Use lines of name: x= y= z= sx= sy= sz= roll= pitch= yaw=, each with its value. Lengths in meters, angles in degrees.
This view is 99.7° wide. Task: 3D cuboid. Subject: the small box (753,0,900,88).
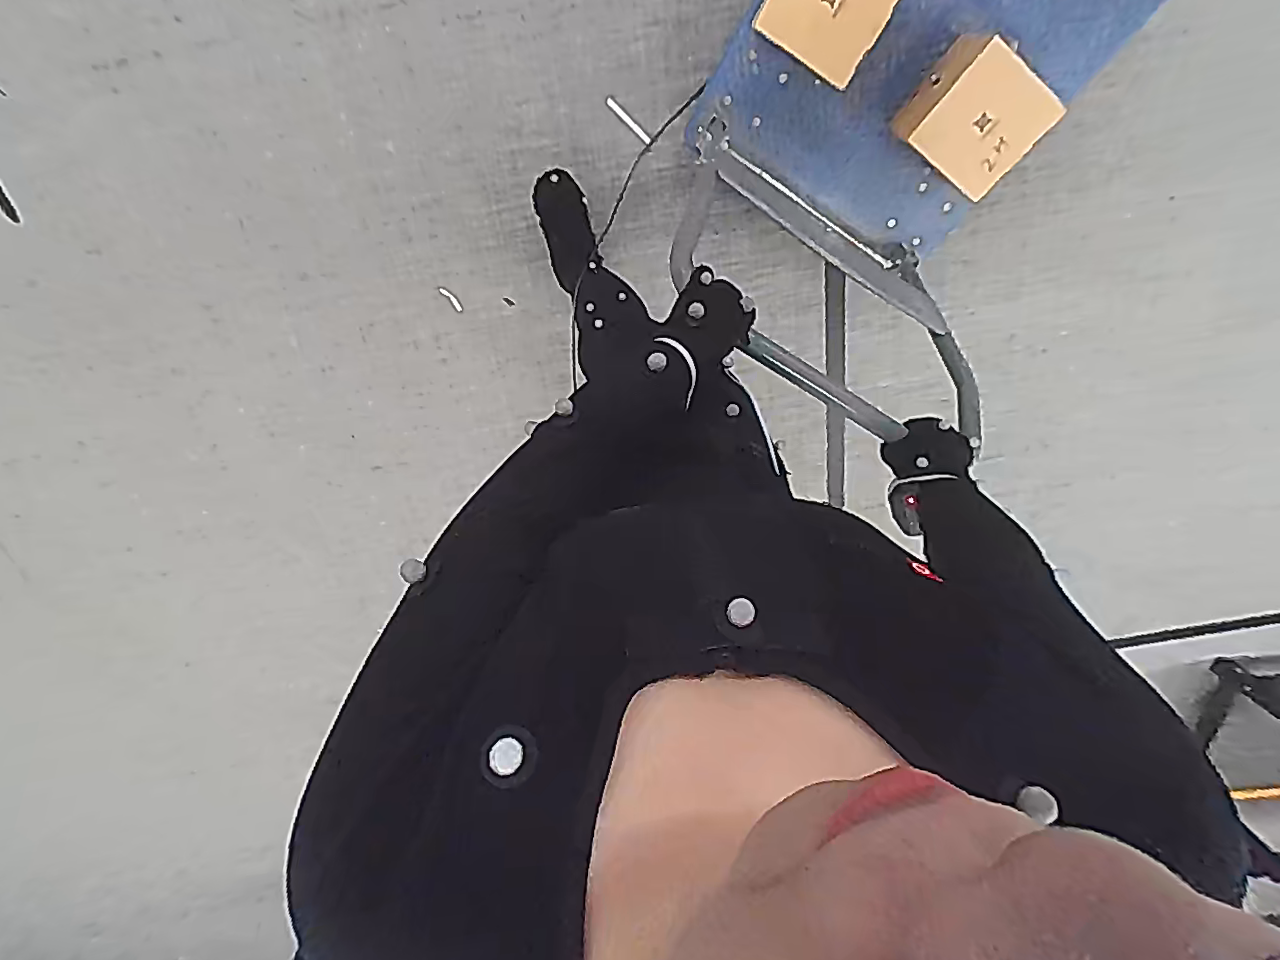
small box: x=0.298 y=-0.768 z=0.865 sx=0.179 sy=0.176 sz=0.168 roll=25 pitch=129 yaw=-14

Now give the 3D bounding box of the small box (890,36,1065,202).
small box: x=0.570 y=-0.625 z=0.940 sx=0.179 sy=0.176 sz=0.168 roll=31 pitch=128 yaw=-15
